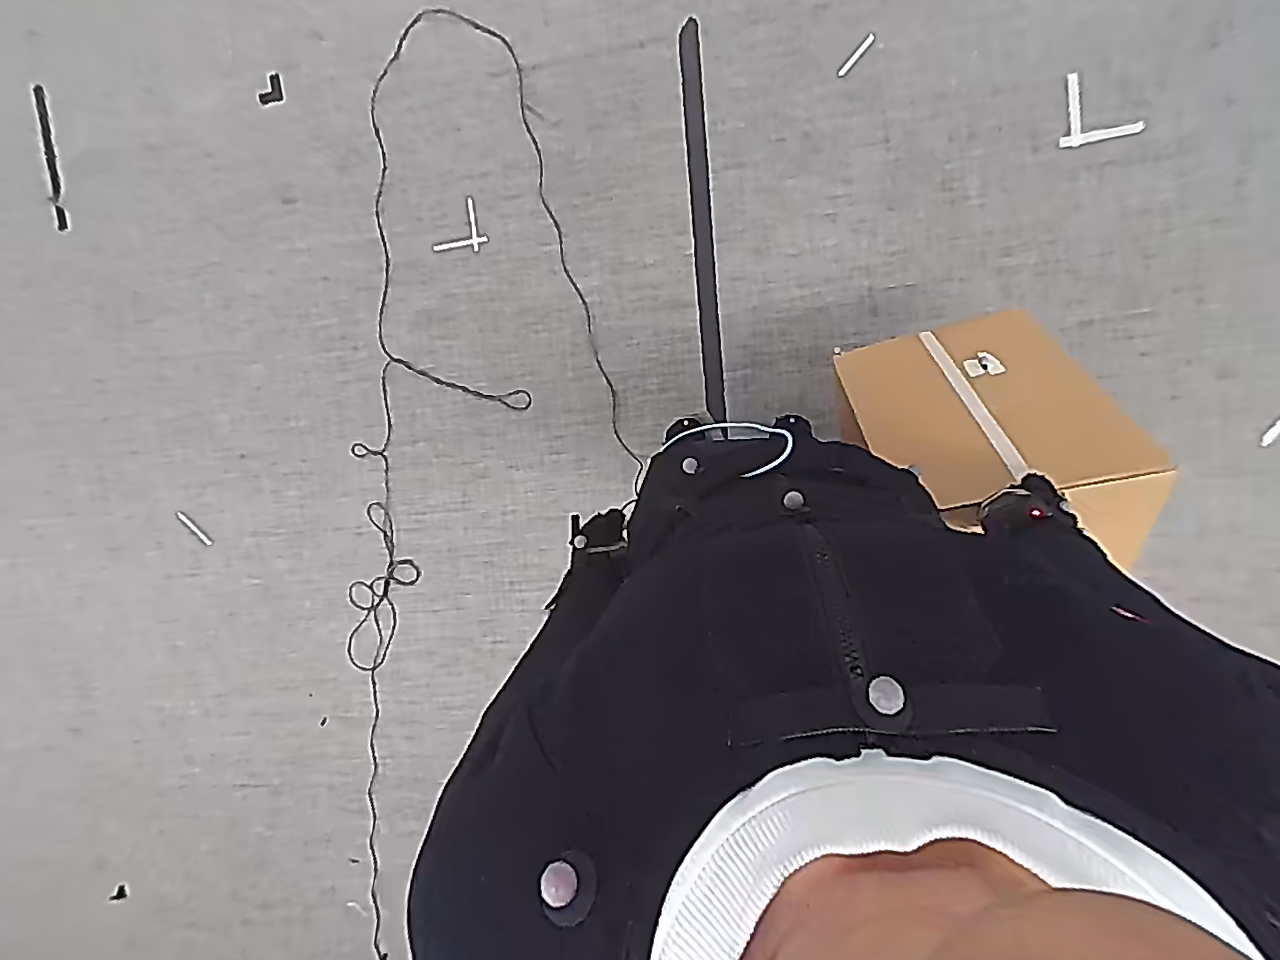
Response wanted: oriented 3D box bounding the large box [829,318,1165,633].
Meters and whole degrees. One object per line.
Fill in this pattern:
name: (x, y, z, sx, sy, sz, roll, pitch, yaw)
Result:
large box: (0.541, -0.011, 0.922, 0.320, 0.408, 0.320, -12, 131, 13)
